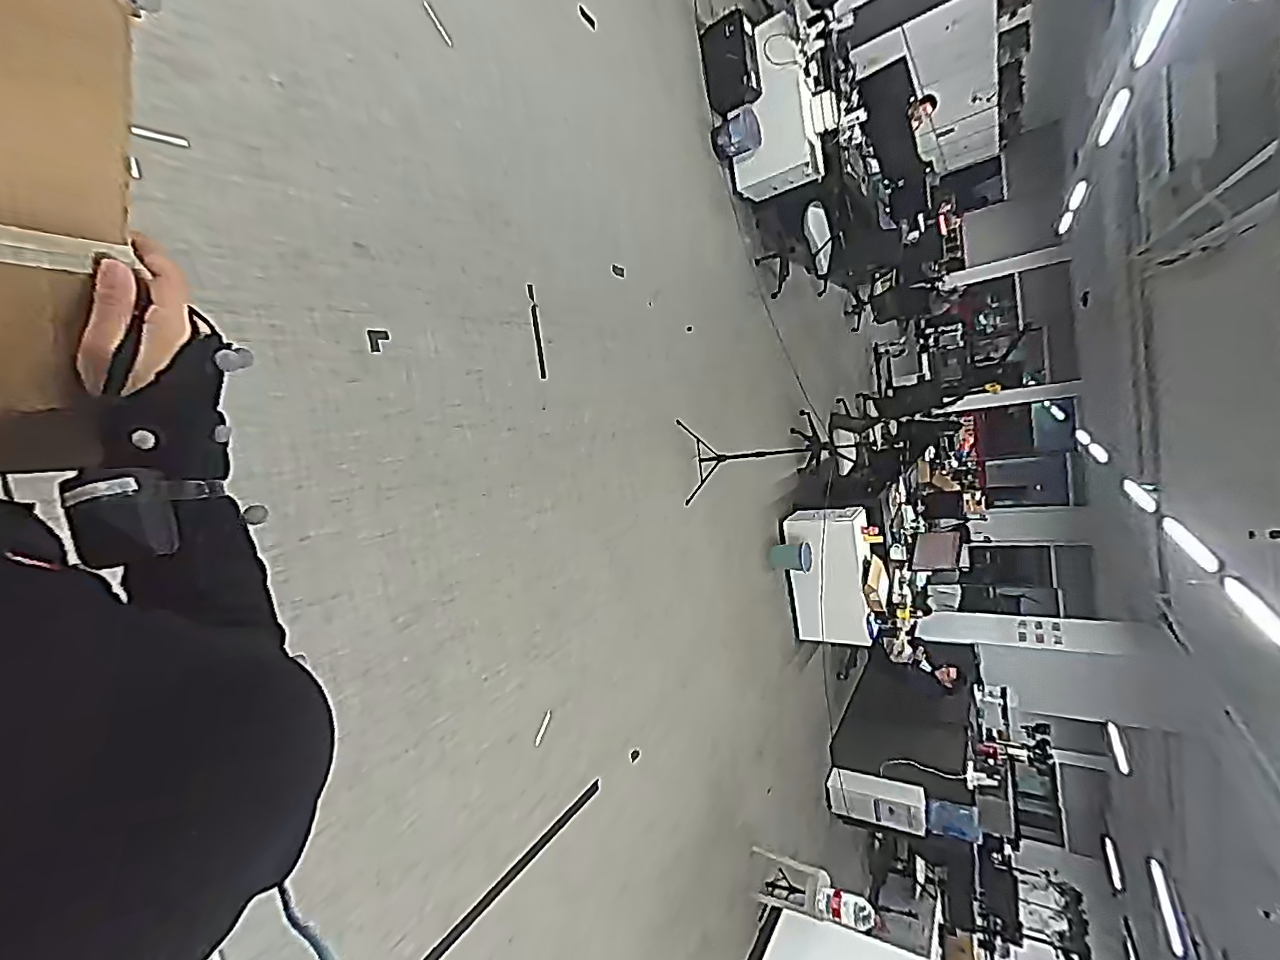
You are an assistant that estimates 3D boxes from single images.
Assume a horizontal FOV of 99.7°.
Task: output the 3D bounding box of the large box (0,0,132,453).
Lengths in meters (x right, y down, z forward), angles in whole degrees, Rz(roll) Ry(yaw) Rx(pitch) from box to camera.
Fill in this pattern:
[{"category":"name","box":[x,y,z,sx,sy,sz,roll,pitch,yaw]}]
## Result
[{"category":"large box","box":[-0.562,-0.209,0.265,0.408,0.320,0.320,-11,133,-53]}]
